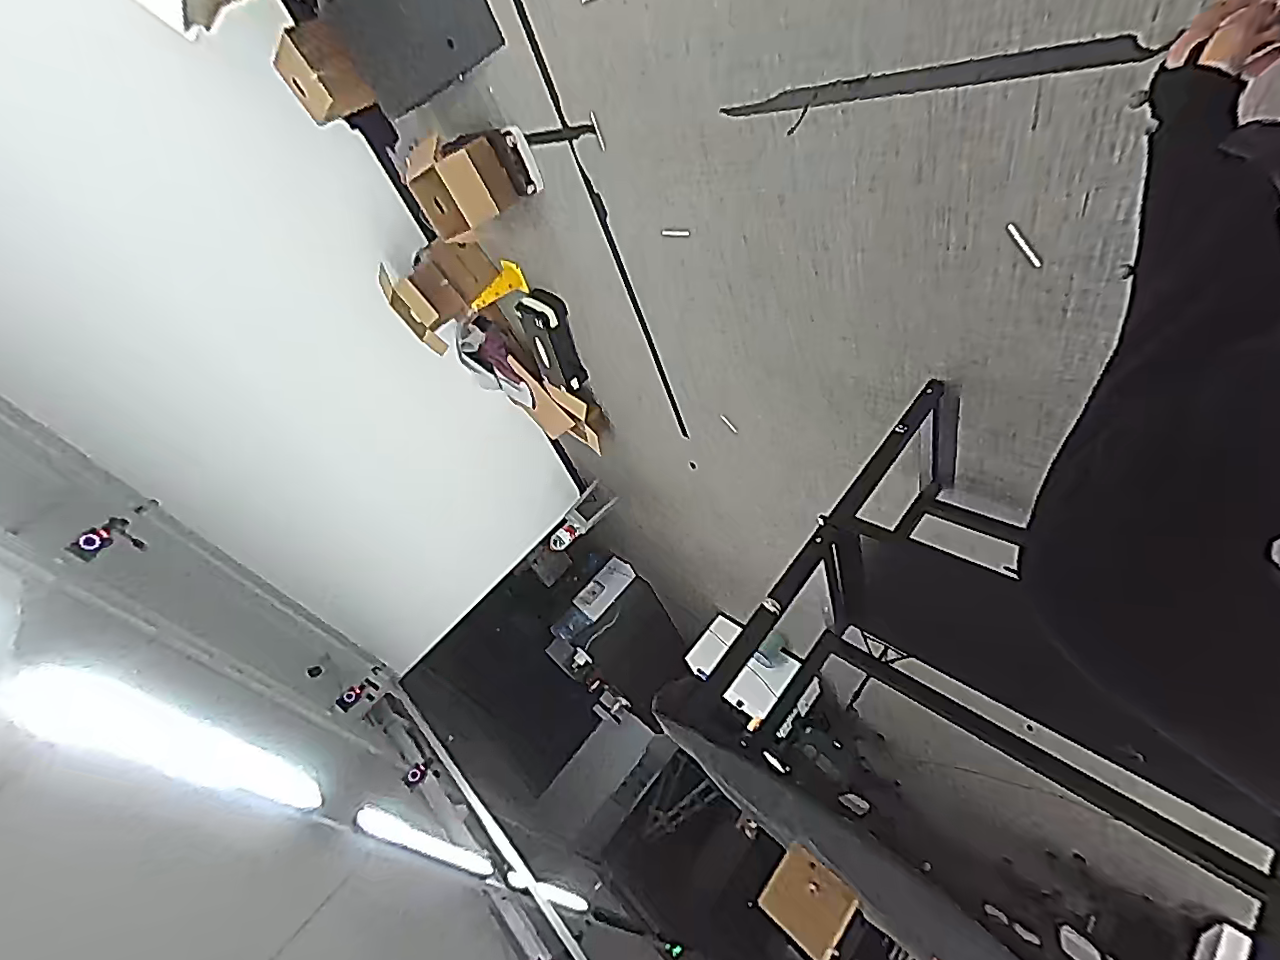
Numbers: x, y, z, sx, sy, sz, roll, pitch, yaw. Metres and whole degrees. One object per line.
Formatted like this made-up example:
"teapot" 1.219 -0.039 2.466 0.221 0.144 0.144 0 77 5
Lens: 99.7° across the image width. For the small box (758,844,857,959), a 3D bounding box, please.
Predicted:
"small box" 0.413 1.034 1.316 0.168 0.176 0.179 26 152 39
